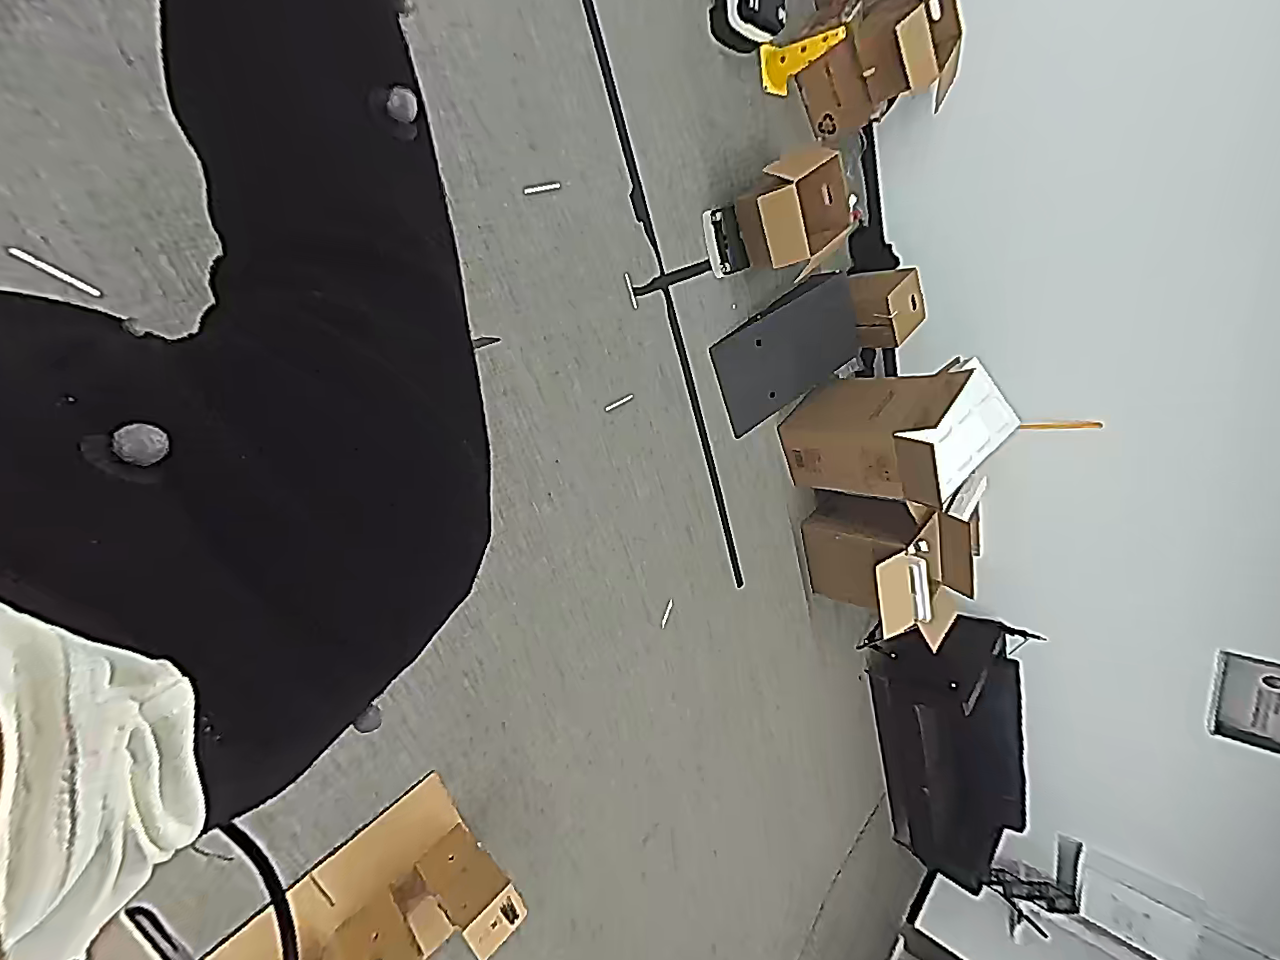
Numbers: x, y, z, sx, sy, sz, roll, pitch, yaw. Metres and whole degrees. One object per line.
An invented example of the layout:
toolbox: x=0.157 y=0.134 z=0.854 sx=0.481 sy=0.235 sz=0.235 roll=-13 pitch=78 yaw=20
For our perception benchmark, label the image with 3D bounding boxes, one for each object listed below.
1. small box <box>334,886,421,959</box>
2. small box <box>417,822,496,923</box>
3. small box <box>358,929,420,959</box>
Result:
small box: x=-0.806 y=1.409 z=1.649 sx=0.179 sy=0.176 sz=0.168 roll=-31 pitch=116 yaw=-36
small box: x=-0.620 y=1.301 z=1.804 sx=0.179 sy=0.176 sz=0.168 roll=-33 pitch=118 yaw=-37
small box: x=-0.701 y=1.433 z=1.524 sx=0.168 sy=0.176 sz=0.179 roll=-30 pitch=115 yaw=-36
